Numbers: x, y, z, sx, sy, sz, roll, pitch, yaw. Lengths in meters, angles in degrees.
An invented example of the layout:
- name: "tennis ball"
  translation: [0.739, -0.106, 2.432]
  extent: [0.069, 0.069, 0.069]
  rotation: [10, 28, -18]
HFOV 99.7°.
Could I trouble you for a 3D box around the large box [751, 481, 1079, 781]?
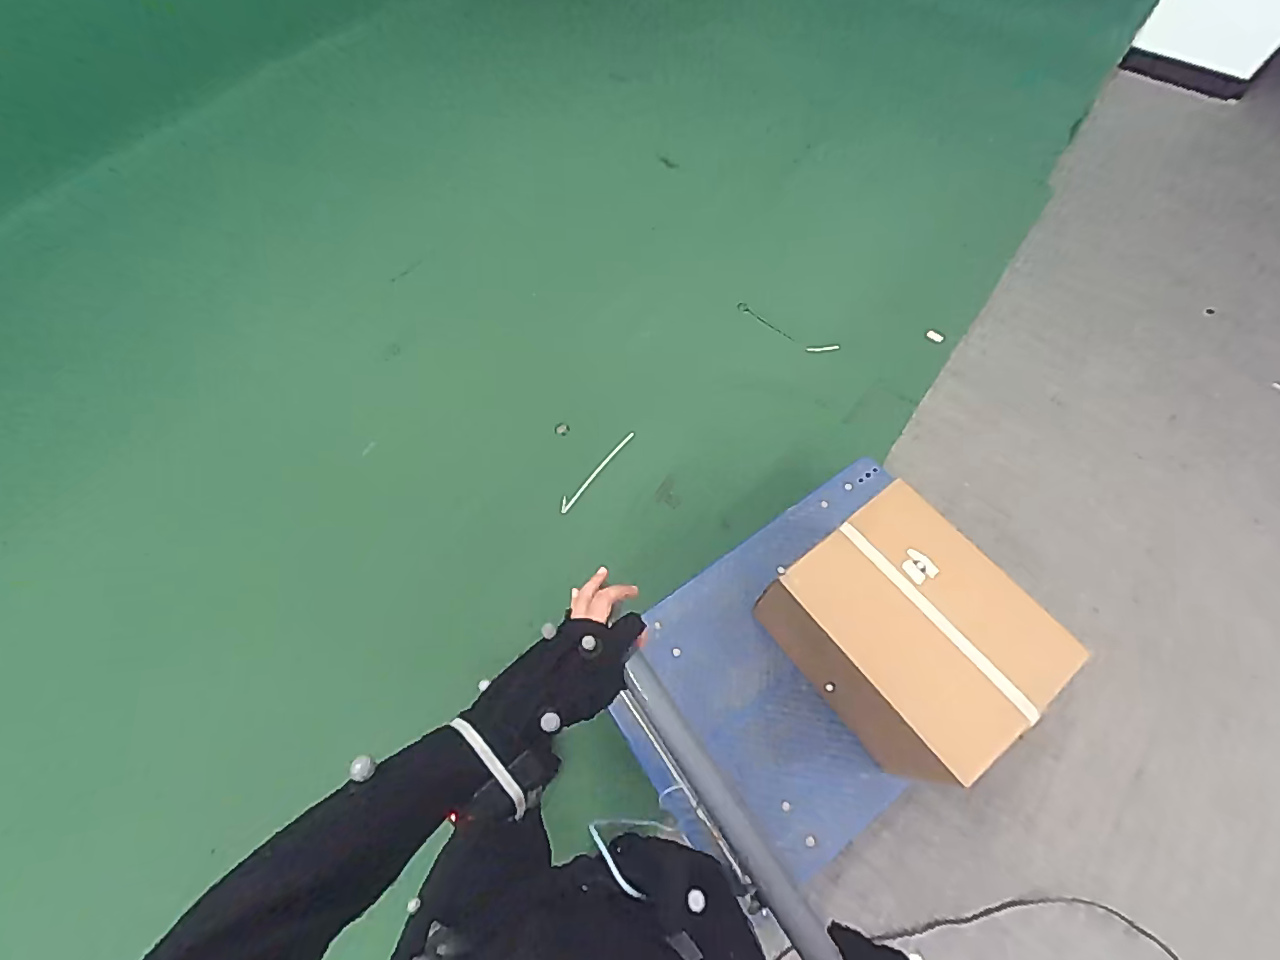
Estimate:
- name: "large box"
  translation: [0.474, 0.287, 1.035]
  extent: [0.320, 0.320, 0.408]
  rotation: [-34, 67, -13]
